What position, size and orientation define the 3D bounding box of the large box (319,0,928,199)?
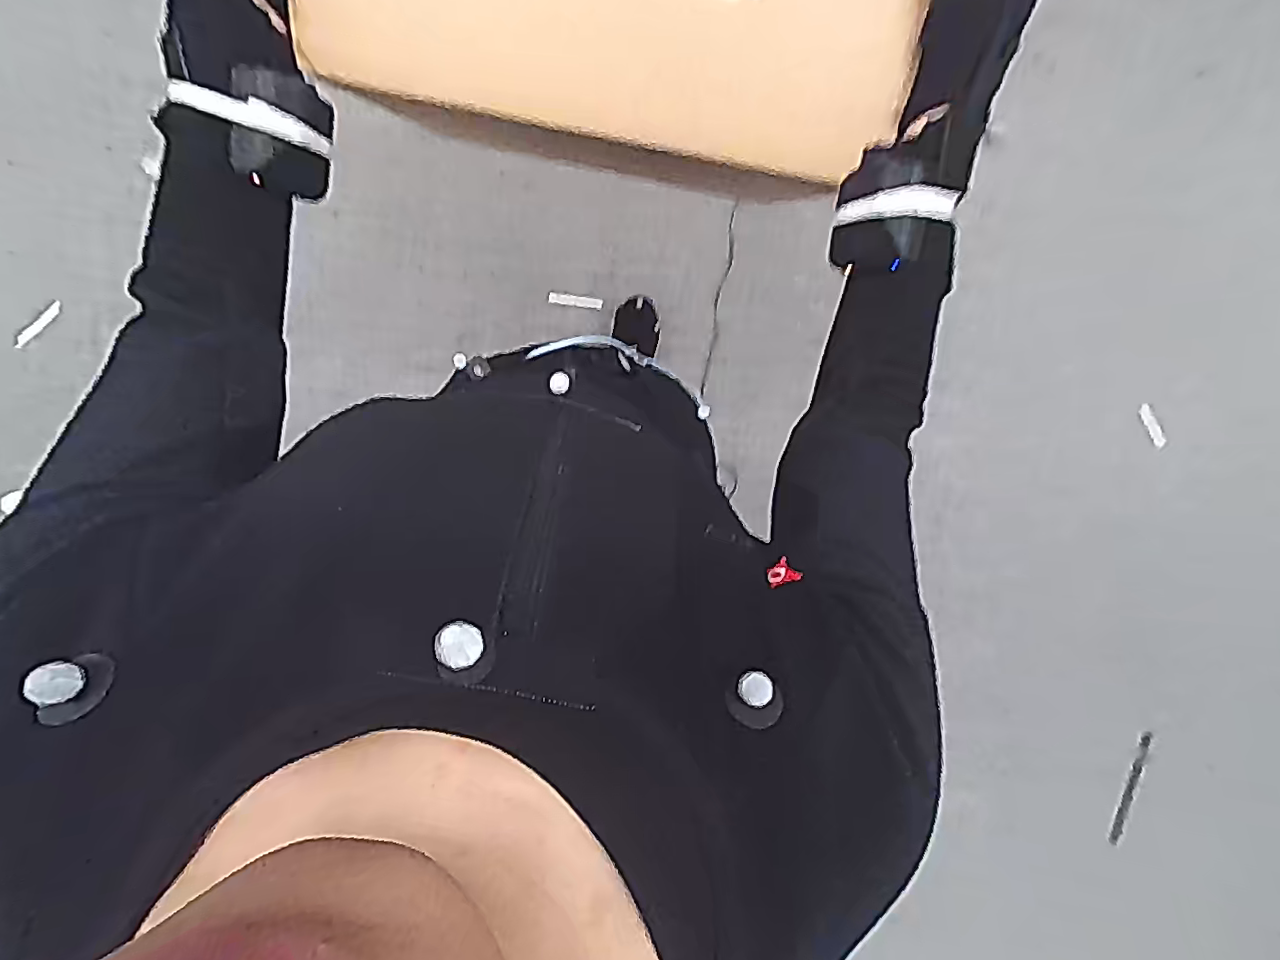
[{"bbox_3d":[-0.003,-0.447,0.458,0.408,0.320,0.320,8,116,-7],"label":"large box"}]
